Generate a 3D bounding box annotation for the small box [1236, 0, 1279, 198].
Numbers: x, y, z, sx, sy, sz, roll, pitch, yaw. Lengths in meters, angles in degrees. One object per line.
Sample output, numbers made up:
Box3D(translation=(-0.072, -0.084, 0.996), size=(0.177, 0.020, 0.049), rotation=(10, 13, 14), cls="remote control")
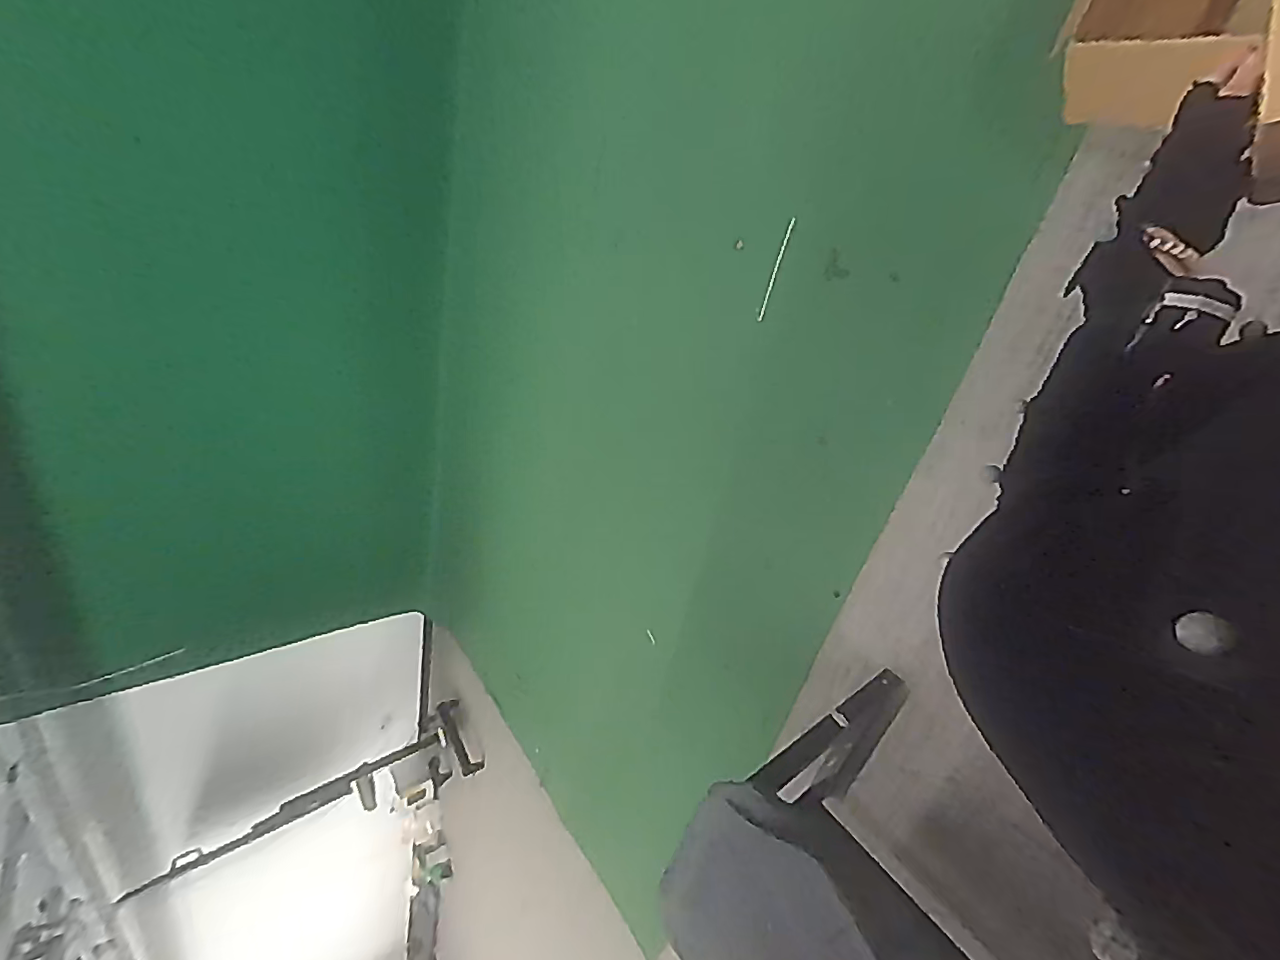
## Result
Box3D(translation=(0.496, -0.296, 0.319), size=(0.179, 0.176, 0.168), rotation=(7, 97, 46), cls="small box")
